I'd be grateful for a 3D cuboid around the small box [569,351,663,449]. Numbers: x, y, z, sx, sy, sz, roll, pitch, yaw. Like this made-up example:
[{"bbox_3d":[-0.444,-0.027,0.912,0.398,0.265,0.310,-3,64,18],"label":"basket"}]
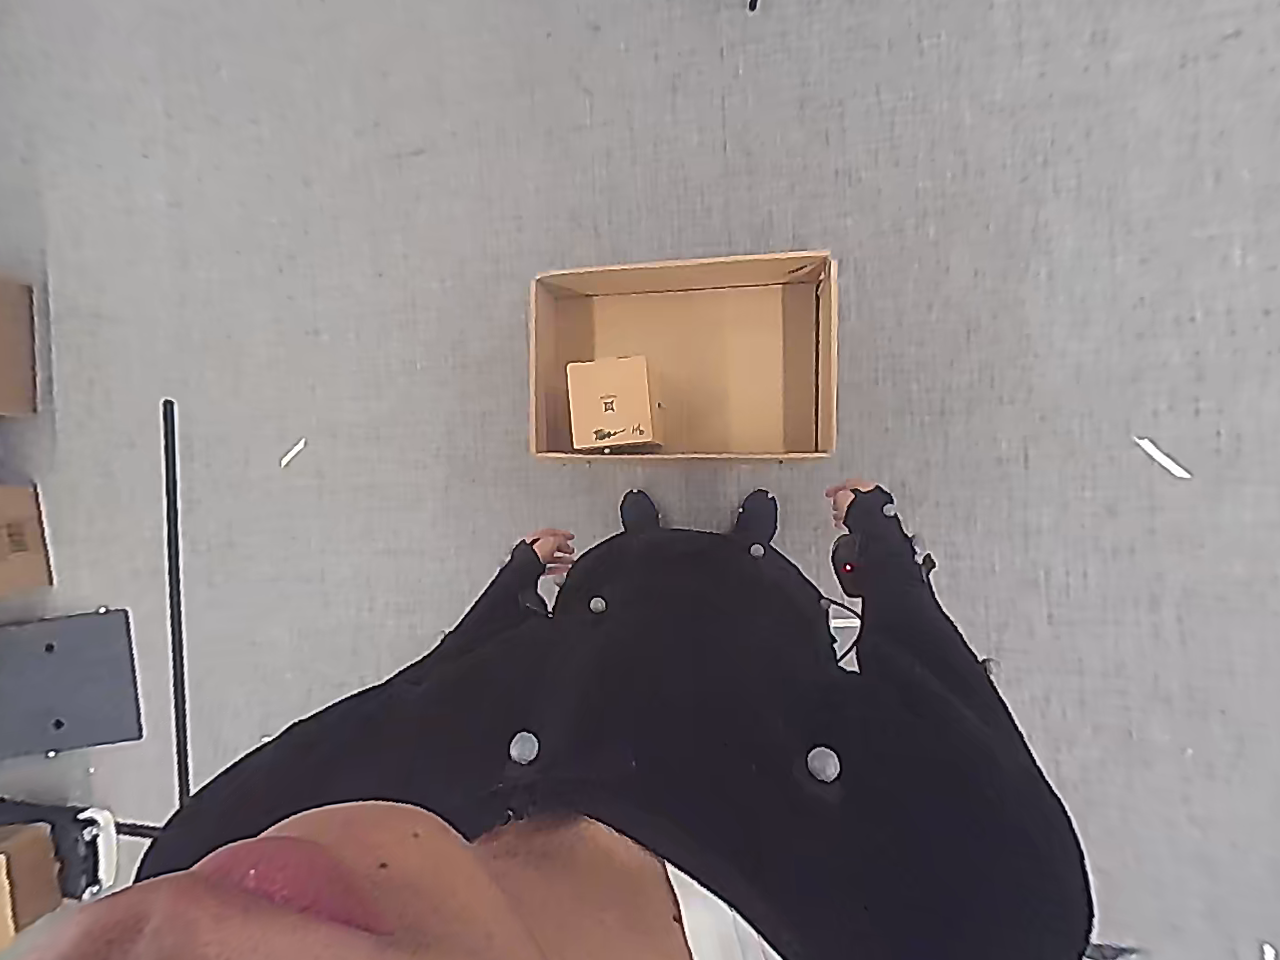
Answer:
[{"bbox_3d":[-0.046,-0.164,1.158,0.168,0.176,0.179,-4,89,11],"label":"small box"}]
